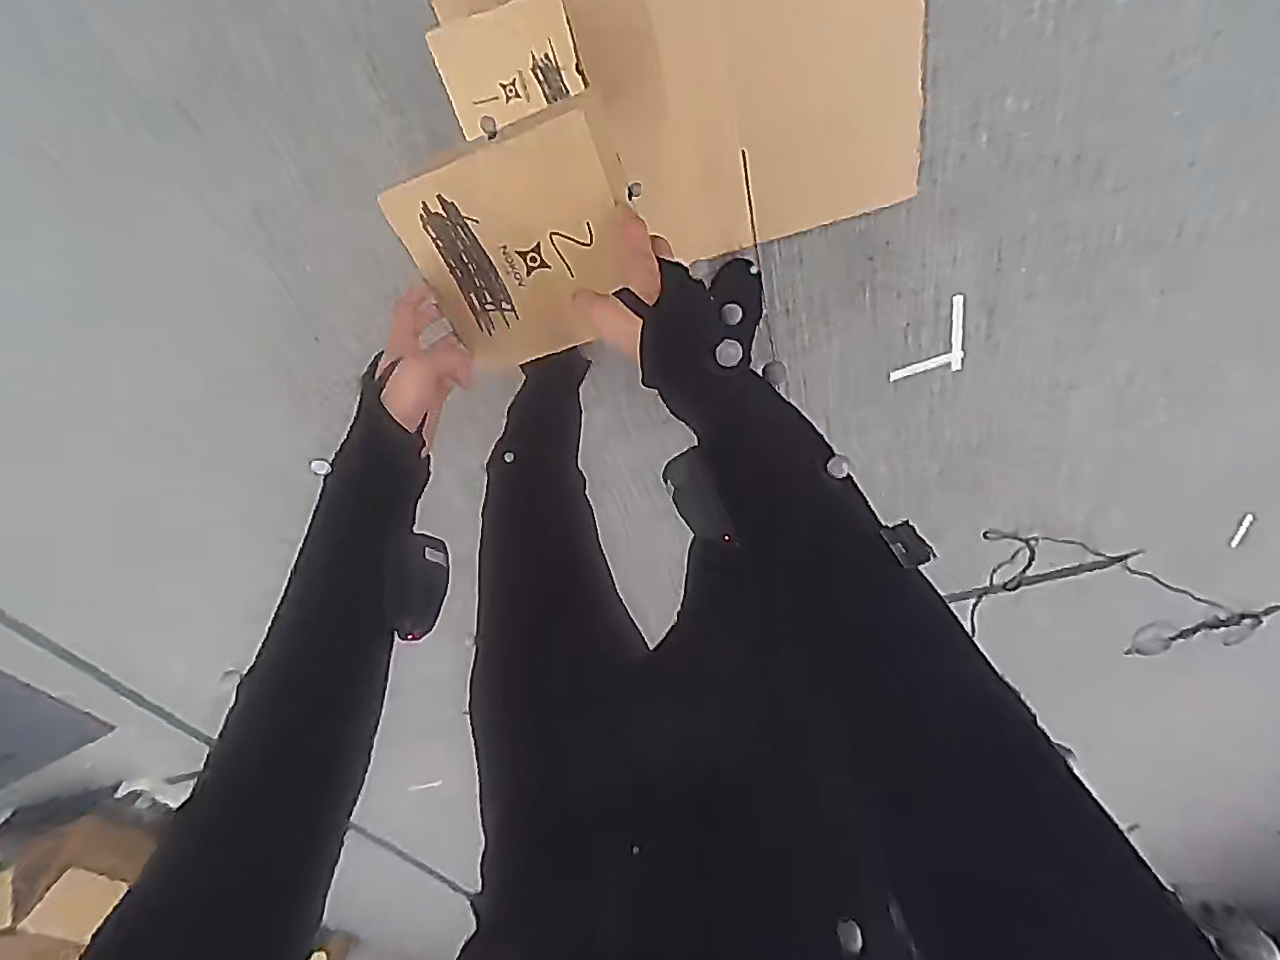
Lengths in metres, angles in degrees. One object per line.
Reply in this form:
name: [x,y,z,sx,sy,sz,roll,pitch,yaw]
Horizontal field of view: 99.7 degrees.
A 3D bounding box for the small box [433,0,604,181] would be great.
small box: [-0.157,-0.547,0.759,0.179,0.176,0.168,-14,127,6]
